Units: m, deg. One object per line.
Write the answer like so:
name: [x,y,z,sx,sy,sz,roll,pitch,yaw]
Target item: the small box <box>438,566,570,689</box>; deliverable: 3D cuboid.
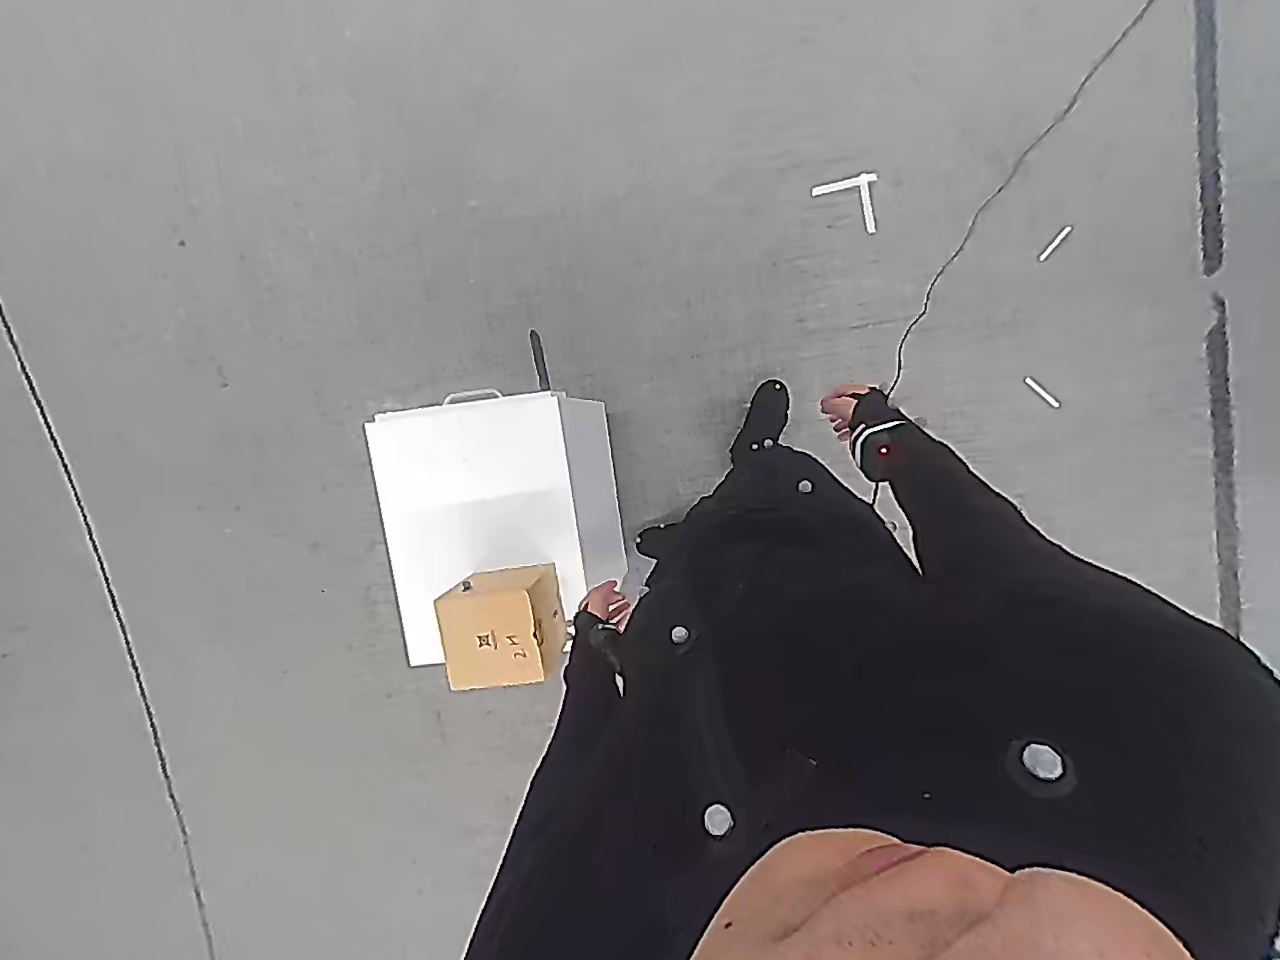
small box: [-0.245,0.268,1.008,0.179,0.176,0.168,-9,96,7]
